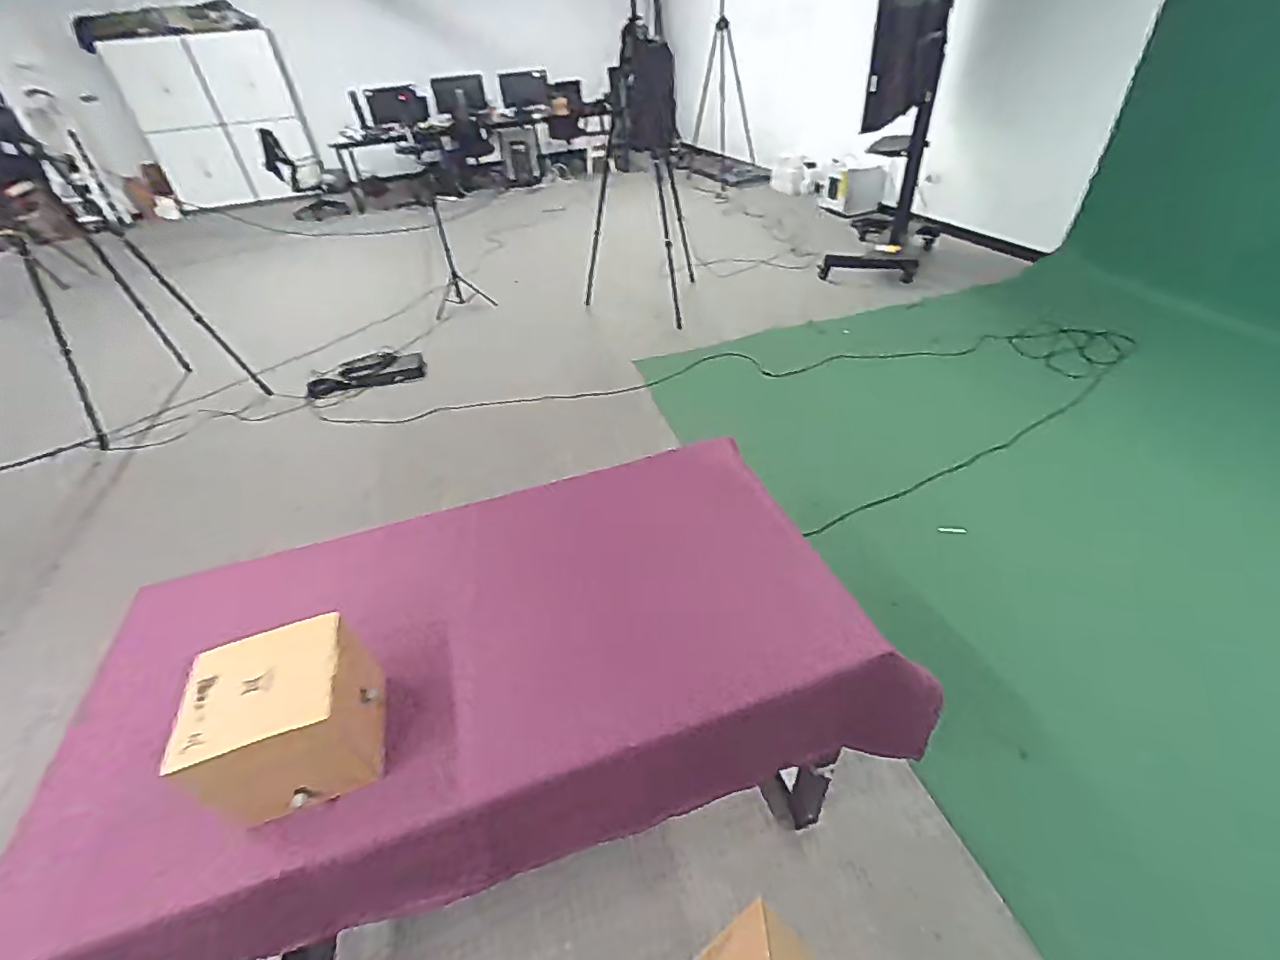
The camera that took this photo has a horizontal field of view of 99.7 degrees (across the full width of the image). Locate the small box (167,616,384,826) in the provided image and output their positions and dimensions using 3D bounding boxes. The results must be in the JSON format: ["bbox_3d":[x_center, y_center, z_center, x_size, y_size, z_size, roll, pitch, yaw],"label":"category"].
[{"bbox_3d":[-0.454,0.316,0.715,0.179,0.176,0.168,-16,40,-13],"label":"small box"}]
